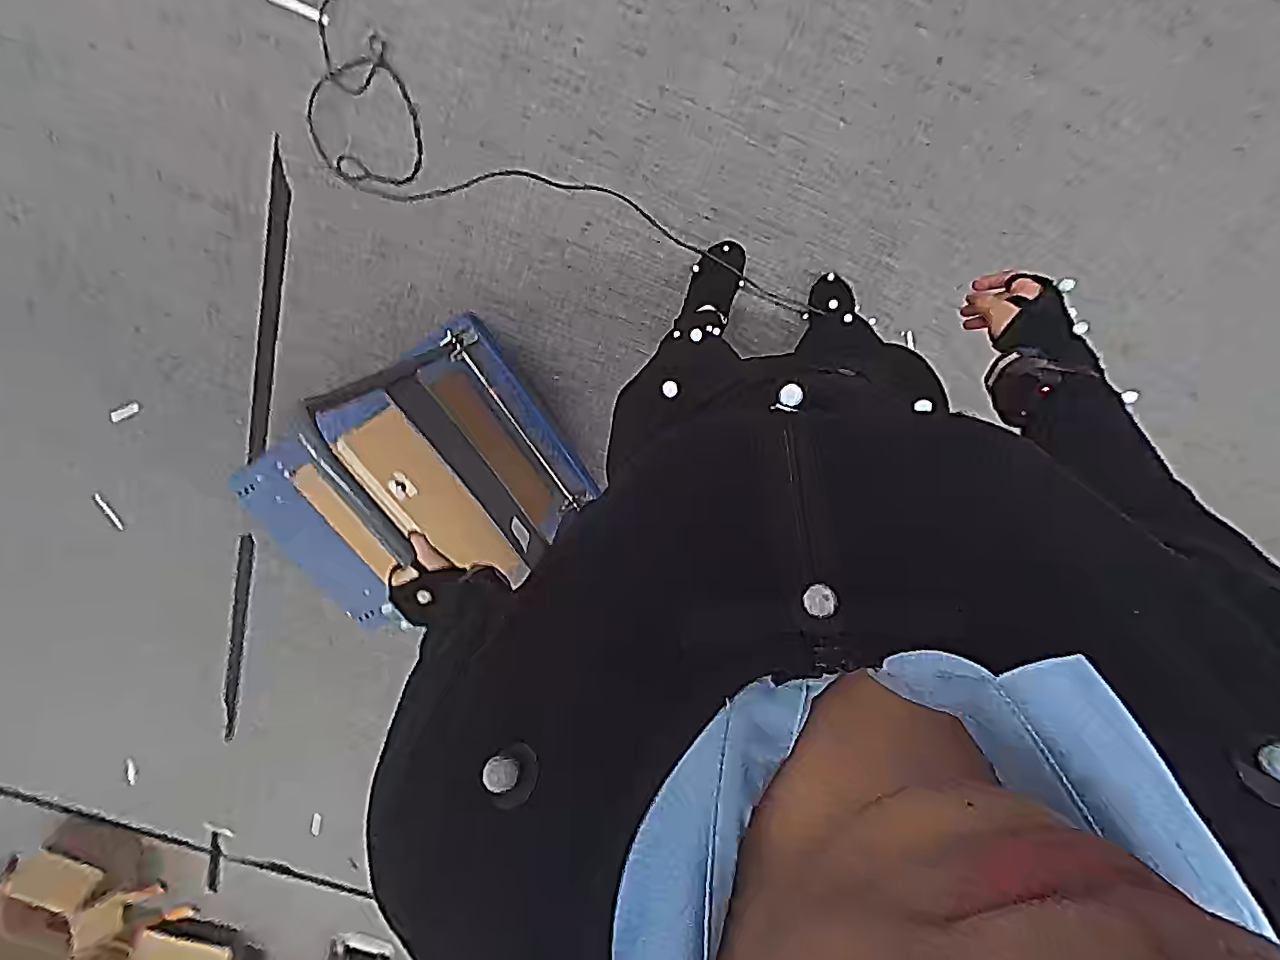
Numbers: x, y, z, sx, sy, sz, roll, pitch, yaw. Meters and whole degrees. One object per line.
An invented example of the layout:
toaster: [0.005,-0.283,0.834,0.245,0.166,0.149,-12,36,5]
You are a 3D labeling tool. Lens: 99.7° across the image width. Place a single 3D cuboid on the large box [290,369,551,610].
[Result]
large box: [-0.470,0.015,1.255,0.320,0.320,0.408,-28,109,15]
